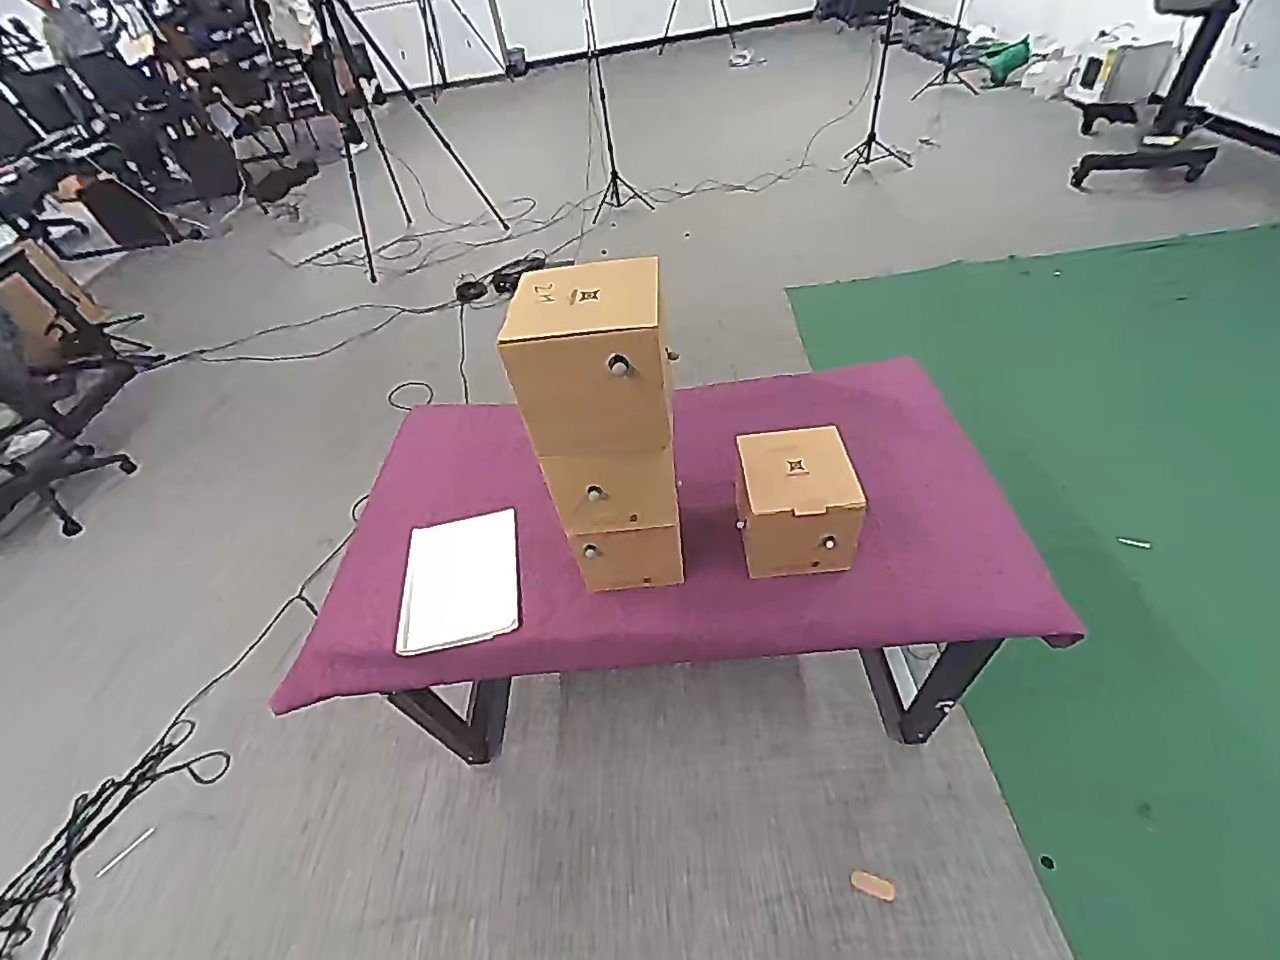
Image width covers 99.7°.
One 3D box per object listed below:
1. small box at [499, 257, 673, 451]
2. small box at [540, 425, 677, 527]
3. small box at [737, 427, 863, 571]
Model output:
[{"bbox_3d":[-0.050,-0.153,0.672,0.179,0.176,0.168,-4,45,7],"label":"small box"},{"bbox_3d":[-0.037,-0.043,0.795,0.168,0.176,0.179,-5,45,5],"label":"small box"},{"bbox_3d":[0.252,0.038,0.894,0.168,0.176,0.179,-5,45,5],"label":"small box"}]
